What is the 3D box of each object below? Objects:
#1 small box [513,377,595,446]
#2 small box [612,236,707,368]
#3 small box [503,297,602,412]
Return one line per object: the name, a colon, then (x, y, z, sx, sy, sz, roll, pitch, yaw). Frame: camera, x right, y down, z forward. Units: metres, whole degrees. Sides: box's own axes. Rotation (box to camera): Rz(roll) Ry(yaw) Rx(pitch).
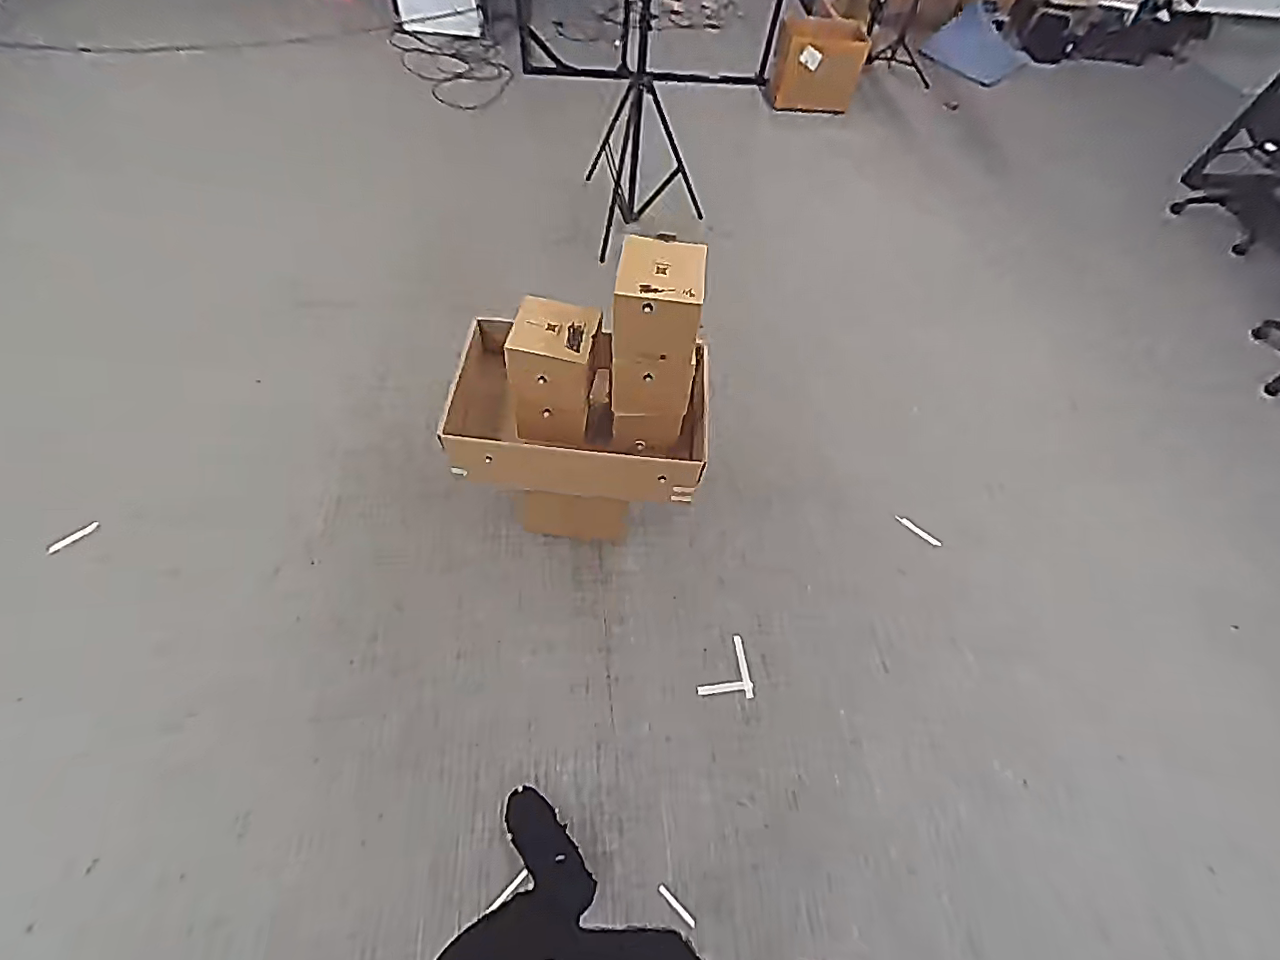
small box: (-0.208, -0.203, 1.353, 0.179, 0.176, 0.168, 7, 59, -3)
small box: (0.035, -0.353, 1.078, 0.168, 0.176, 0.179, 7, 58, 1)
small box: (-0.188, -0.273, 1.206, 0.179, 0.176, 0.168, 11, 59, 1)
